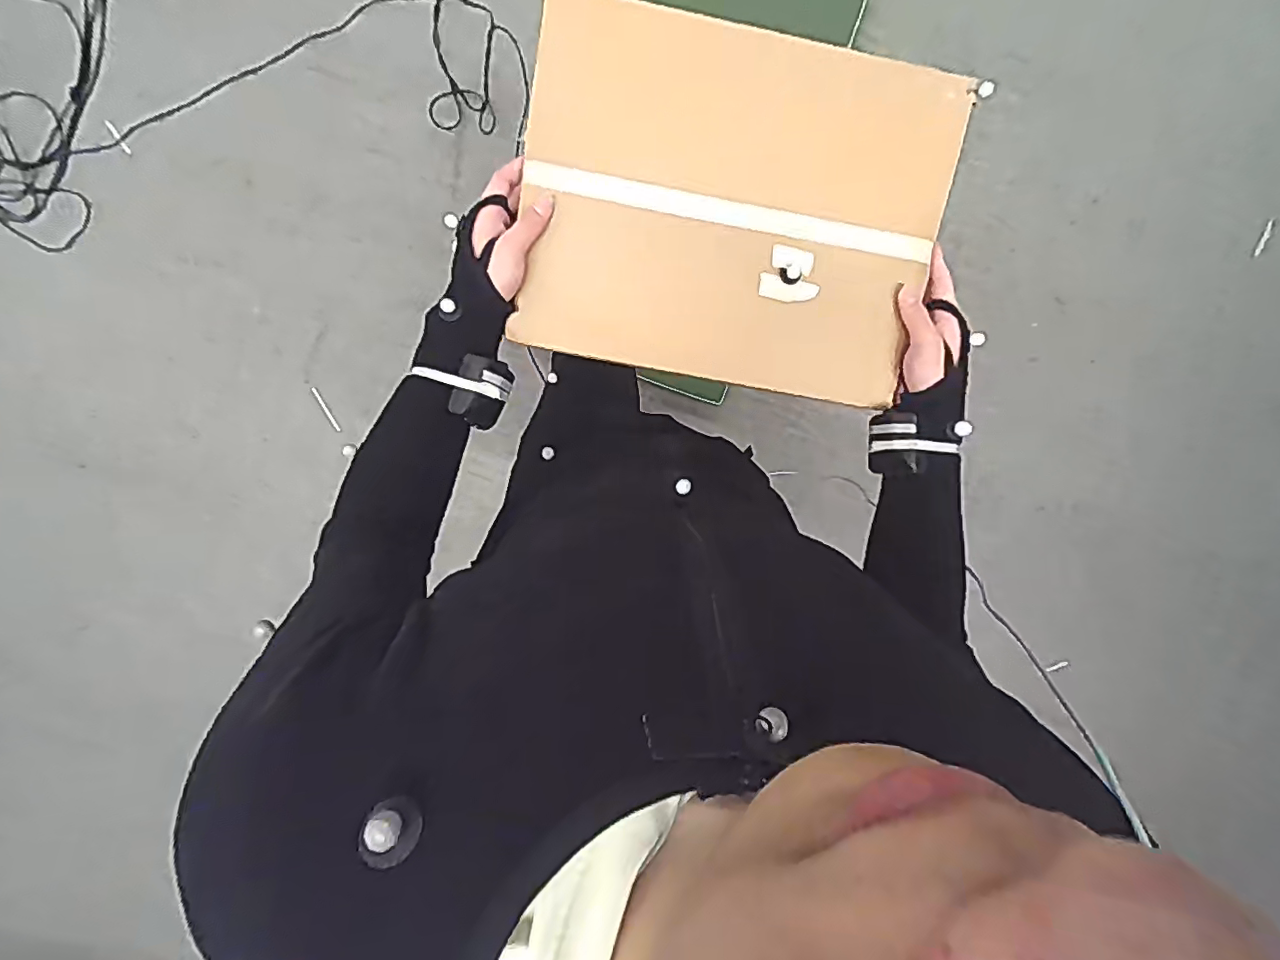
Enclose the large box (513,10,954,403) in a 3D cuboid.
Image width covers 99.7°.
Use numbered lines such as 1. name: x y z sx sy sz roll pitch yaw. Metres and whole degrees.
1. large box: 0.080 -0.287 0.682 0.408 0.320 0.320 9 102 -4
